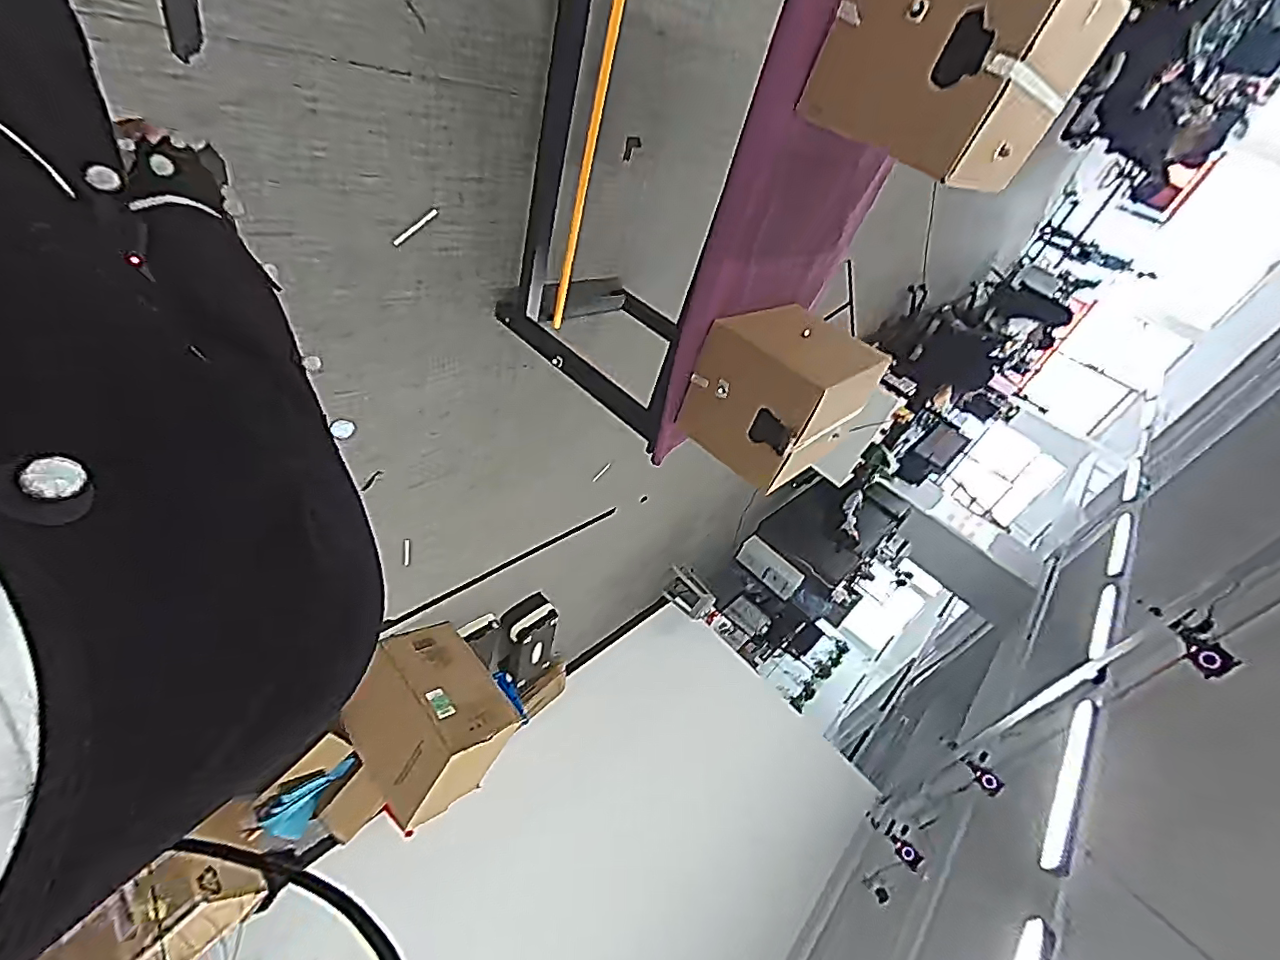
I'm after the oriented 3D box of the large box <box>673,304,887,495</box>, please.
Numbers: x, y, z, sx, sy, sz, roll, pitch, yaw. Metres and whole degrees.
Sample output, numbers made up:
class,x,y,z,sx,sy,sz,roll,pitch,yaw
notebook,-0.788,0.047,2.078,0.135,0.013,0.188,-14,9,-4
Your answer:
class,x,y,z,sx,sy,sz,roll,pitch,yaw
large box,0.353,-0.227,1.396,0.408,0.320,0.320,-27,149,-42
